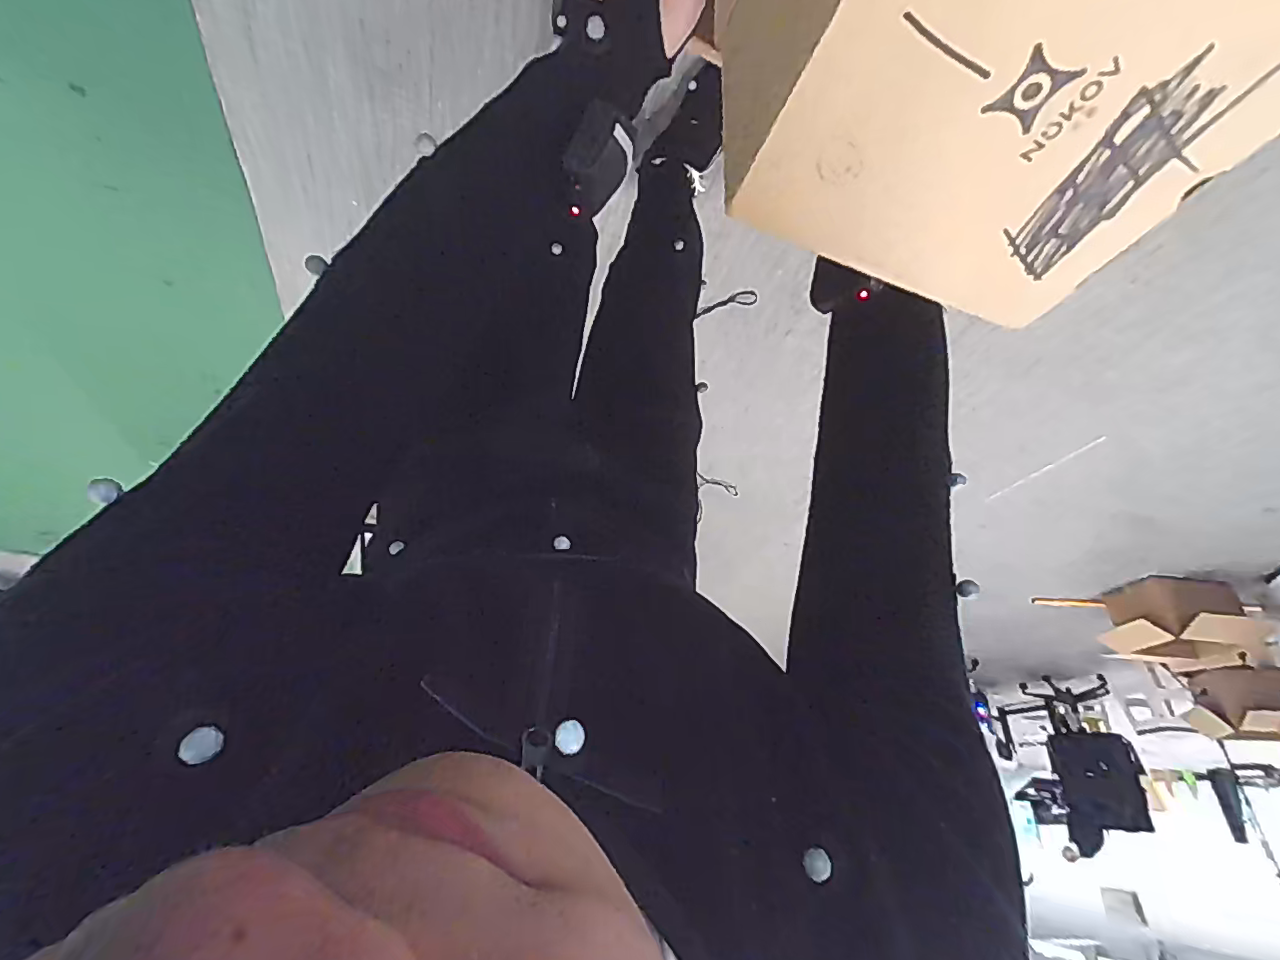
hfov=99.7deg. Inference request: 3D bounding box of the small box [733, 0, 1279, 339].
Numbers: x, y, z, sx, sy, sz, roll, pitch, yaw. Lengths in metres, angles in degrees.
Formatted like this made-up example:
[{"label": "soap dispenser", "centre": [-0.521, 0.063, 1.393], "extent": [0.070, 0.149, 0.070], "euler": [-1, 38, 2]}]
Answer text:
[{"label": "small box", "centre": [0.156, -0.199, 0.237], "extent": [0.179, 0.176, 0.168], "euler": [15, 148, -16]}]
